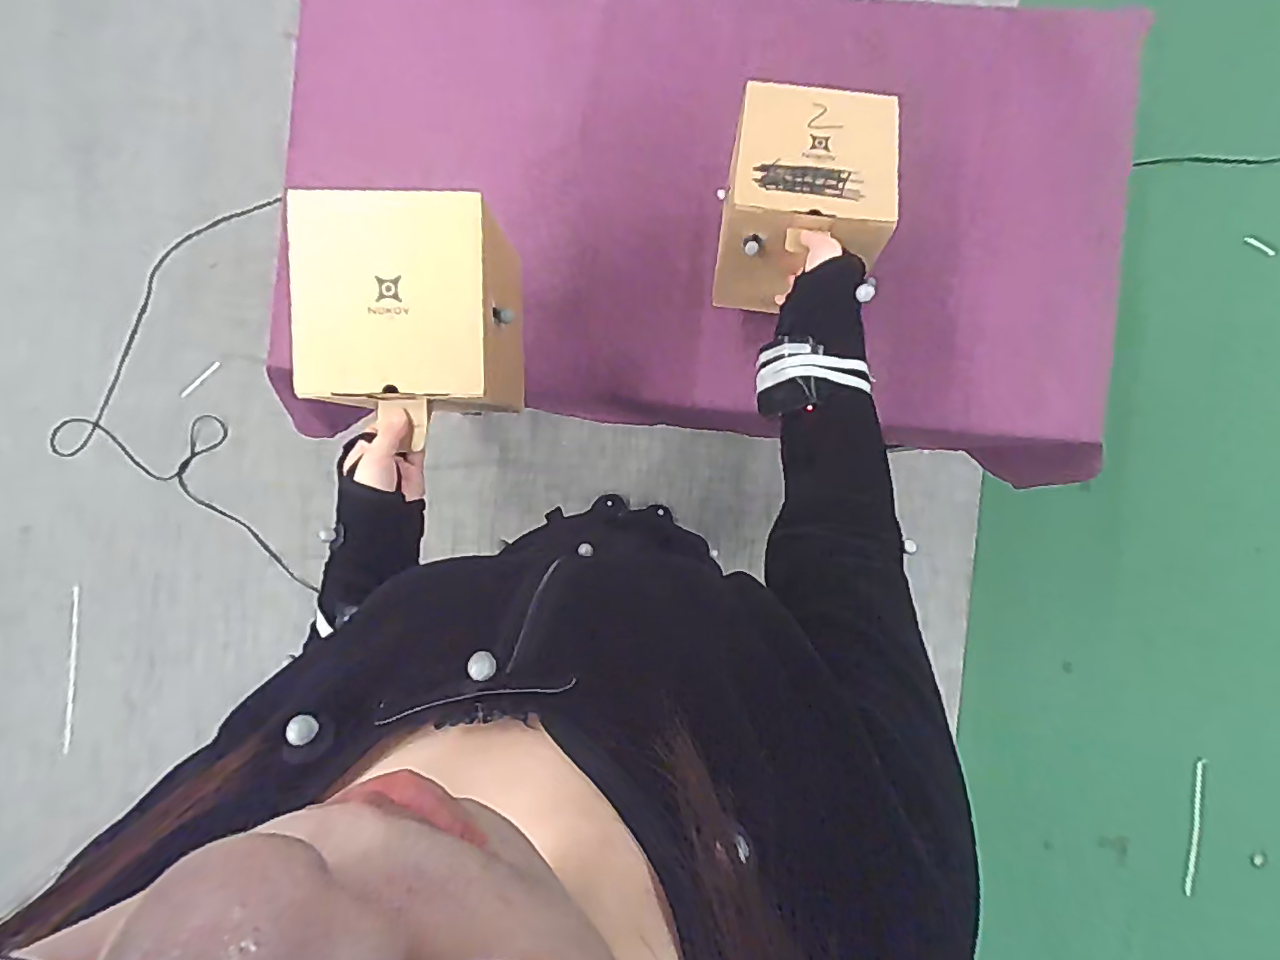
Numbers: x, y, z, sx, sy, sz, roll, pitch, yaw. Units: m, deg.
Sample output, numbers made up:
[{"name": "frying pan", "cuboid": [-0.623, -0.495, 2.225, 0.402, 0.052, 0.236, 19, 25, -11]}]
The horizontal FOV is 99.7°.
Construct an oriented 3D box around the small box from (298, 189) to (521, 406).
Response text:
[{"name": "small box", "cuboid": [-0.221, -0.172, 0.559, 0.168, 0.176, 0.179, 0, 94, -1]}]
